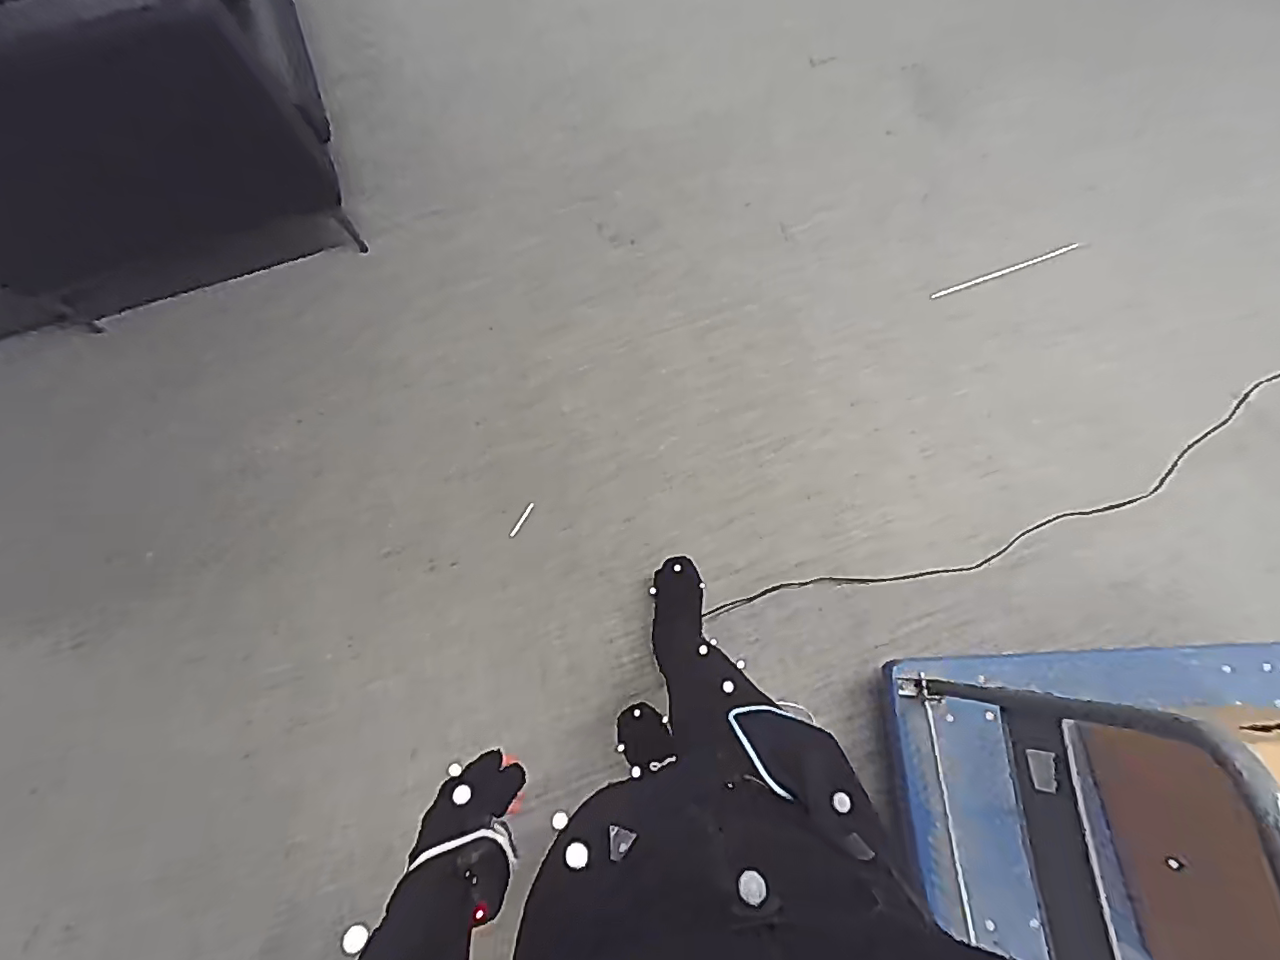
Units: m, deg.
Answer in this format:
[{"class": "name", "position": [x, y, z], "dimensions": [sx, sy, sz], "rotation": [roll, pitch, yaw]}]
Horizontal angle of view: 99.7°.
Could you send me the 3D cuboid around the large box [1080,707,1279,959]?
[{"class": "large box", "position": [1.039, 0.611, 0.876], "dimensions": [0.320, 0.320, 0.408], "rotation": [-7, 72, 0]}]
